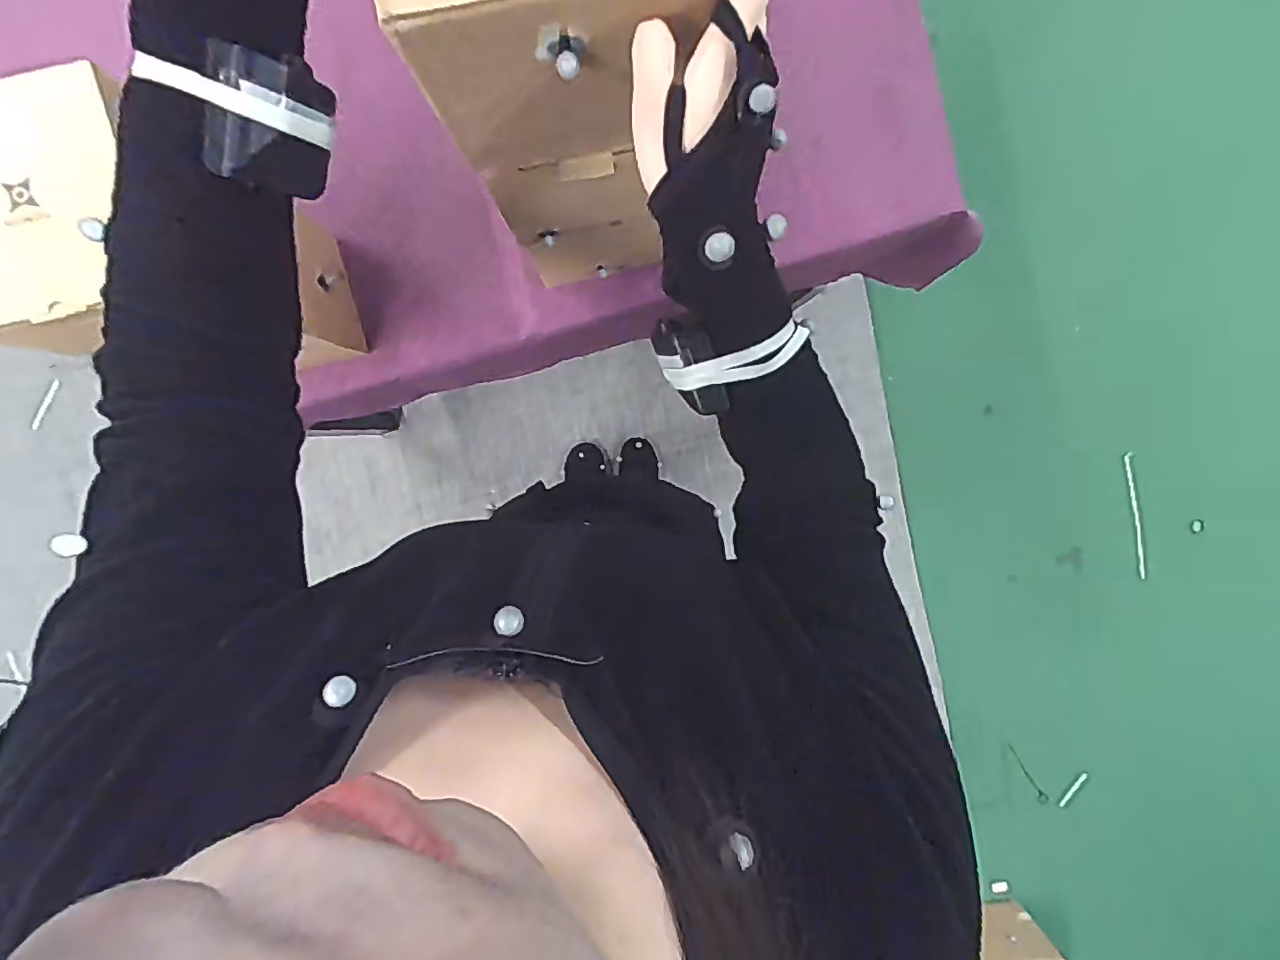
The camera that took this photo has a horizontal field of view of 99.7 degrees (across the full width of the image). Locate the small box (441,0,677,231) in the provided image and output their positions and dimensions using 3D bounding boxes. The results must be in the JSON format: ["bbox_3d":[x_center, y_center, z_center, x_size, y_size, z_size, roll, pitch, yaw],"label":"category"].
[{"bbox_3d":[-0.065,-0.346,0.490,0.168,0.176,0.179,-11,94,-1],"label":"small box"}]

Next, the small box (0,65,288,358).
[{"bbox_3d":[-0.472,-0.224,0.497,0.168,0.176,0.179,-13,97,0],"label":"small box"}]

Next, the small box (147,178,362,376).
[{"bbox_3d":[-0.470,-0.231,0.660,0.179,0.176,0.168,-14,95,0],"label":"small box"}]
